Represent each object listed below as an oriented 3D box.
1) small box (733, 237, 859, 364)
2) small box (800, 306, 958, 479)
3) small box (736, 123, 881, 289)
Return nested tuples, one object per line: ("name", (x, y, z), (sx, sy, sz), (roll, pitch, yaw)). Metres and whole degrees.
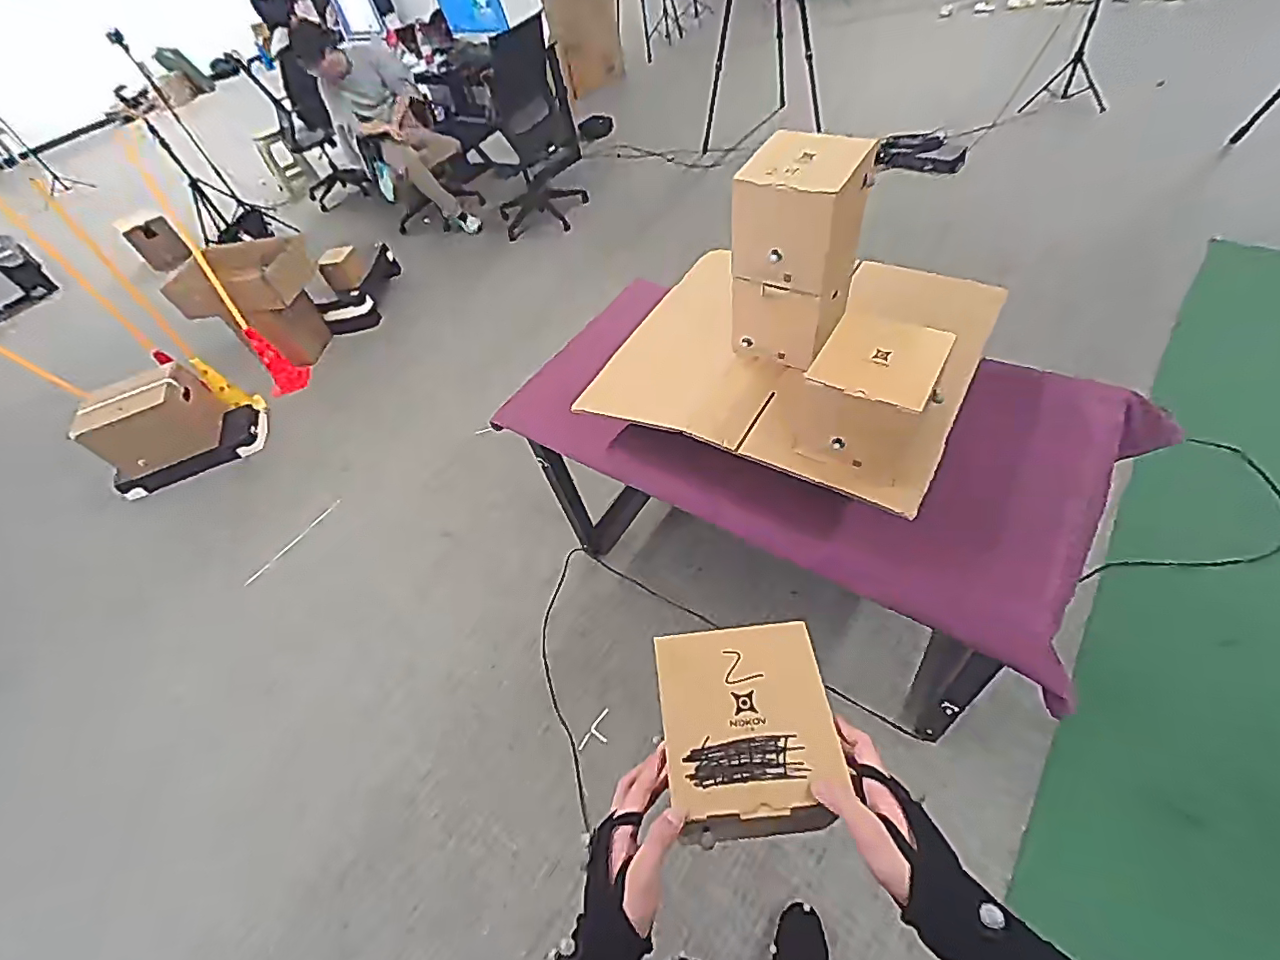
("small box", (0.286, -0.347, 1.011), (0.168, 0.176, 0.179), (24, 61, 24))
("small box", (0.361, -0.135, 0.844), (0.168, 0.176, 0.179), (24, 62, 25))
("small box", (0.265, -0.446, 0.881), (0.168, 0.176, 0.179), (24, 62, 25))
